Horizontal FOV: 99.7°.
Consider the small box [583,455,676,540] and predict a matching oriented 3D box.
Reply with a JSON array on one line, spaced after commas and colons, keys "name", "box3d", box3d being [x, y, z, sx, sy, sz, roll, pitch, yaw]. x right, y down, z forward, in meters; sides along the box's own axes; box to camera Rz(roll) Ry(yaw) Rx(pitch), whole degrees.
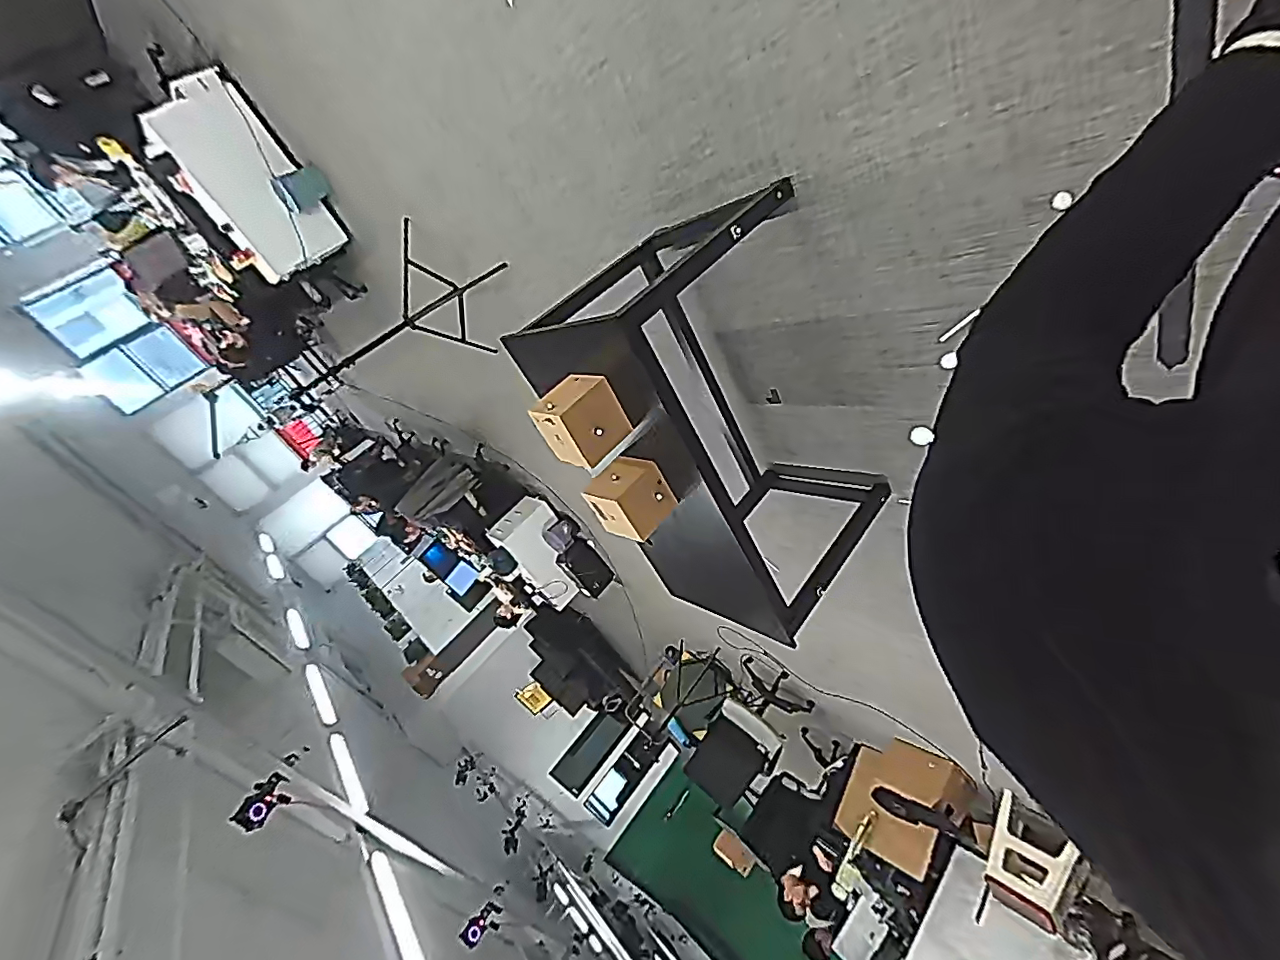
[{"name": "small box", "box3d": [-0.027, 0.044, 1.570, 0.179, 0.176, 0.168, 12, 141, 51]}]

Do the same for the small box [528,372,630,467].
[{"name": "small box", "box3d": [-0.155, -0.164, 1.429, 0.168, 0.176, 0.179, 15, 145, 49]}]
